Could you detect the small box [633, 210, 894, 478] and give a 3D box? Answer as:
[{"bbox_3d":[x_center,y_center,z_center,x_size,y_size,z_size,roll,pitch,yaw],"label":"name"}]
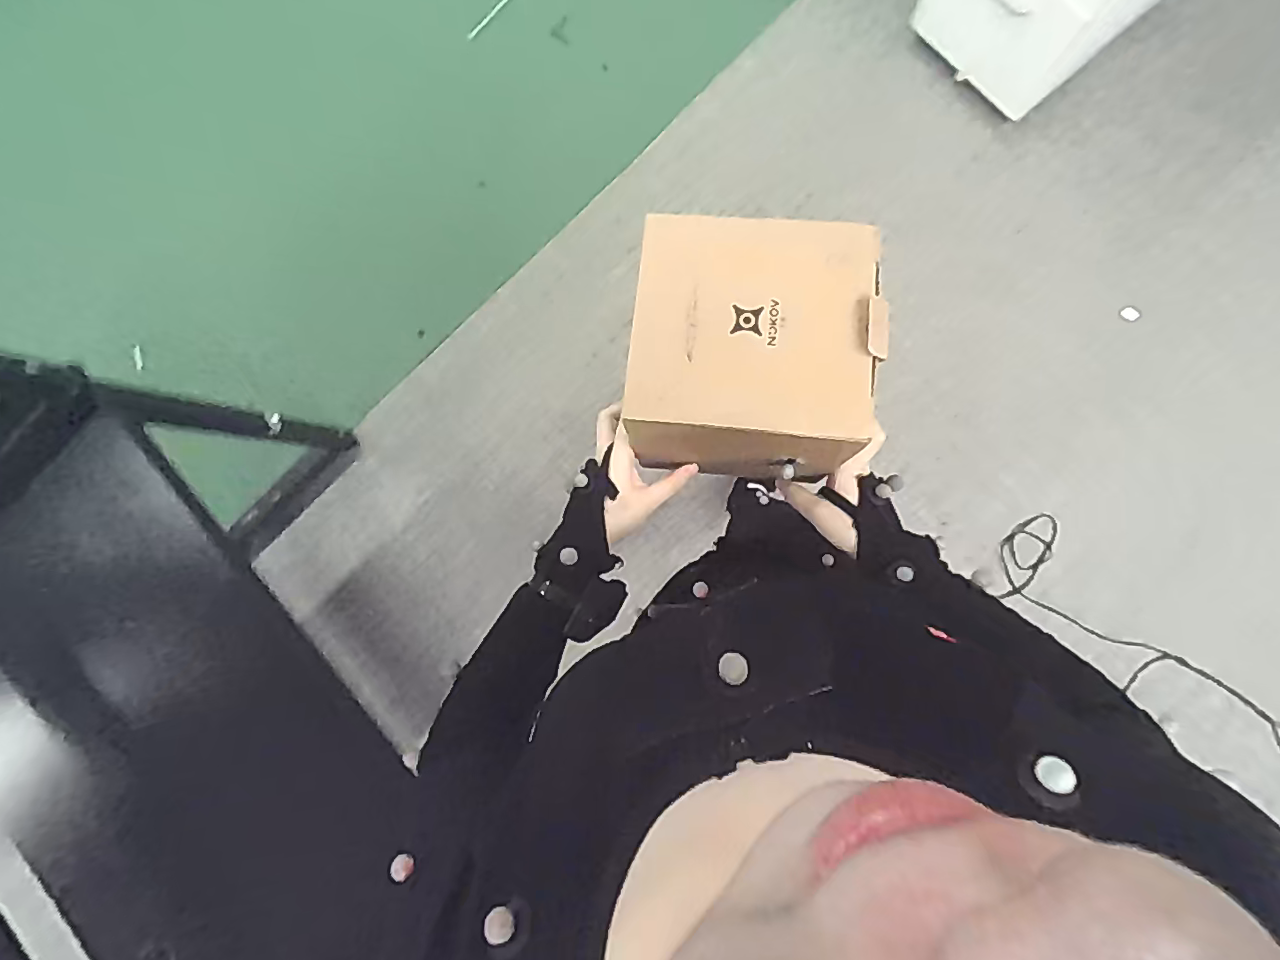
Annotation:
[{"bbox_3d":[0.096,-0.101,0.466,0.179,0.176,0.168,5,79,7],"label":"small box"}]
